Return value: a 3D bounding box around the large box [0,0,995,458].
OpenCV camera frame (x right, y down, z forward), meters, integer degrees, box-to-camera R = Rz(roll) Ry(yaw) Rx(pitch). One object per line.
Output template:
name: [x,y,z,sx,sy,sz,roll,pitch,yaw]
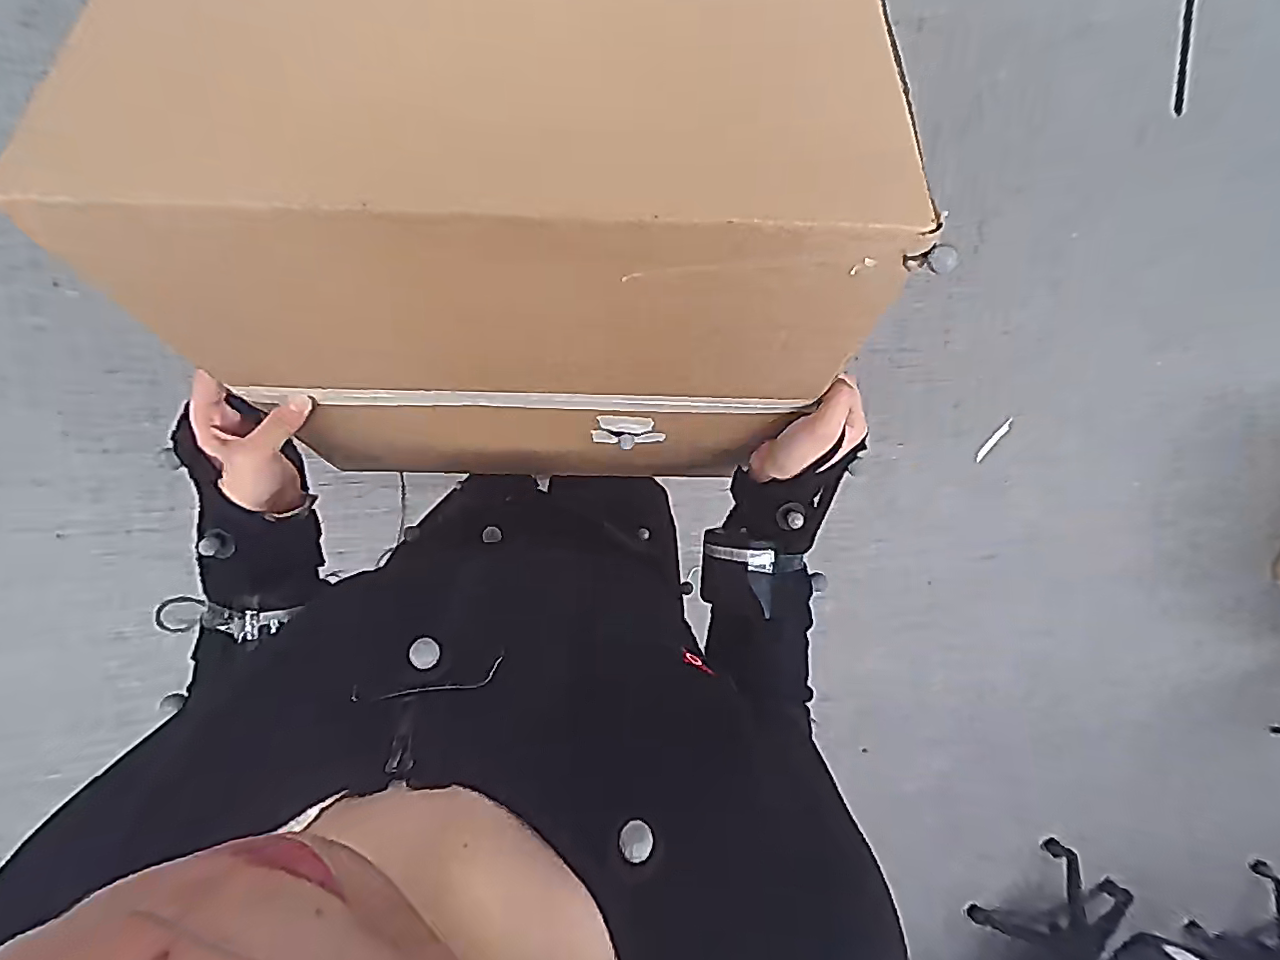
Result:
large box: [-0.062,-0.215,0.402,0.408,0.320,0.320,0,71,-2]
